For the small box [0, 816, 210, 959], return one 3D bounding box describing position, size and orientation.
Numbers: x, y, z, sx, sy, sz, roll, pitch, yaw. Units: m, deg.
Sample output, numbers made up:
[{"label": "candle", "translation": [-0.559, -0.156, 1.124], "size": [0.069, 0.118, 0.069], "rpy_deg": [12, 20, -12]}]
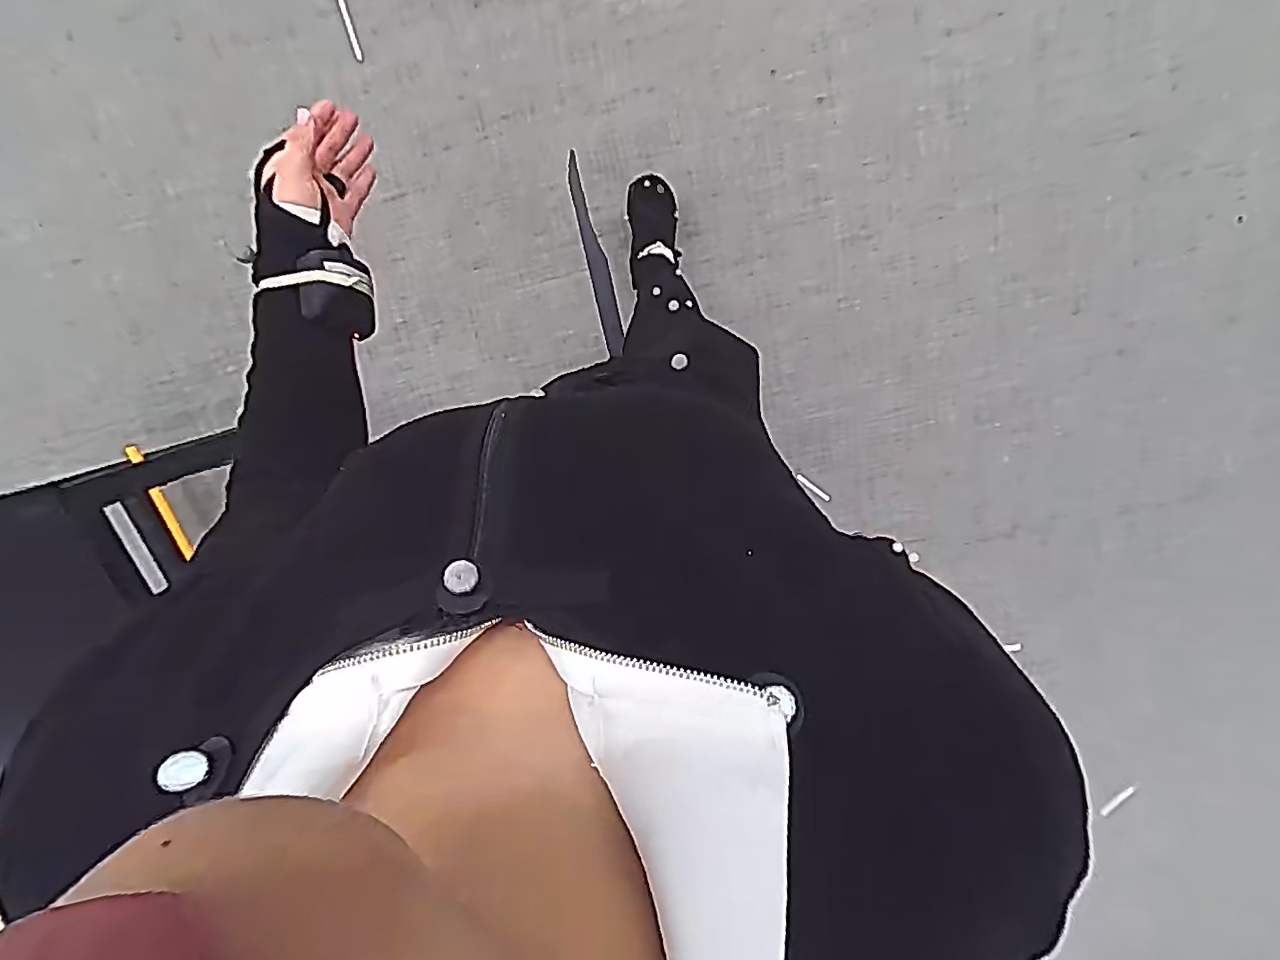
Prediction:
[{"label": "small box", "translation": [-0.867, 0.680, 0.880], "size": [0.168, 0.176, 0.179], "rpy_deg": [-11, 108, 5]}]
